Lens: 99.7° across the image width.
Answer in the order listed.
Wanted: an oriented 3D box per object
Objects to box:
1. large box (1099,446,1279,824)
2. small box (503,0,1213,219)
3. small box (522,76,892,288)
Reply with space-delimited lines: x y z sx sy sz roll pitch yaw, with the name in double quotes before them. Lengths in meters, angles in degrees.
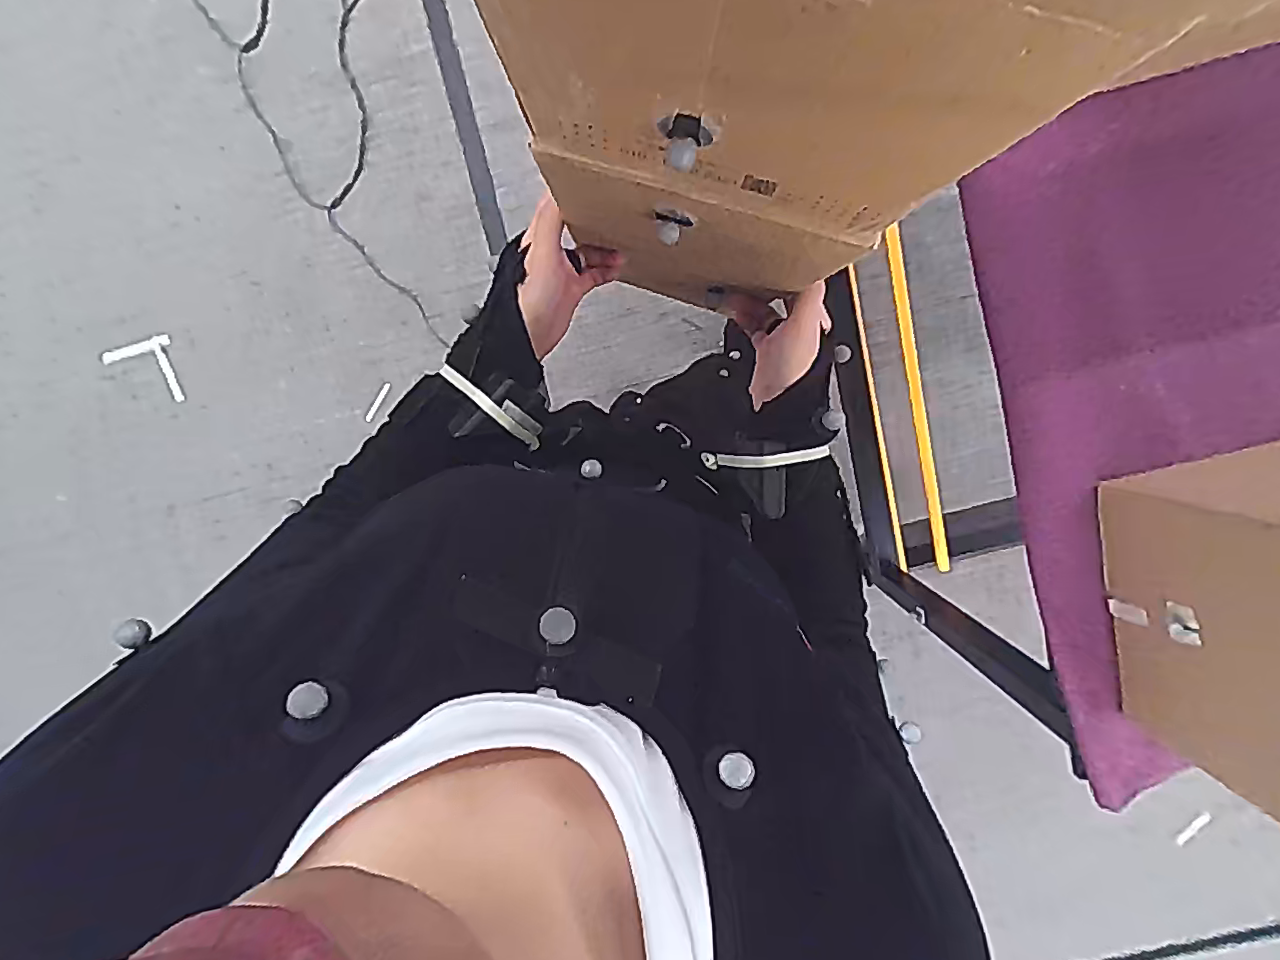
"large box" 0.749 0.130 0.488 0.408 0.320 0.320 -15 101 1
"small box" 0.050 -0.203 0.152 0.168 0.176 0.179 14 101 -2
"small box" 0.050 -0.223 0.313 0.179 0.176 0.168 15 101 -3
